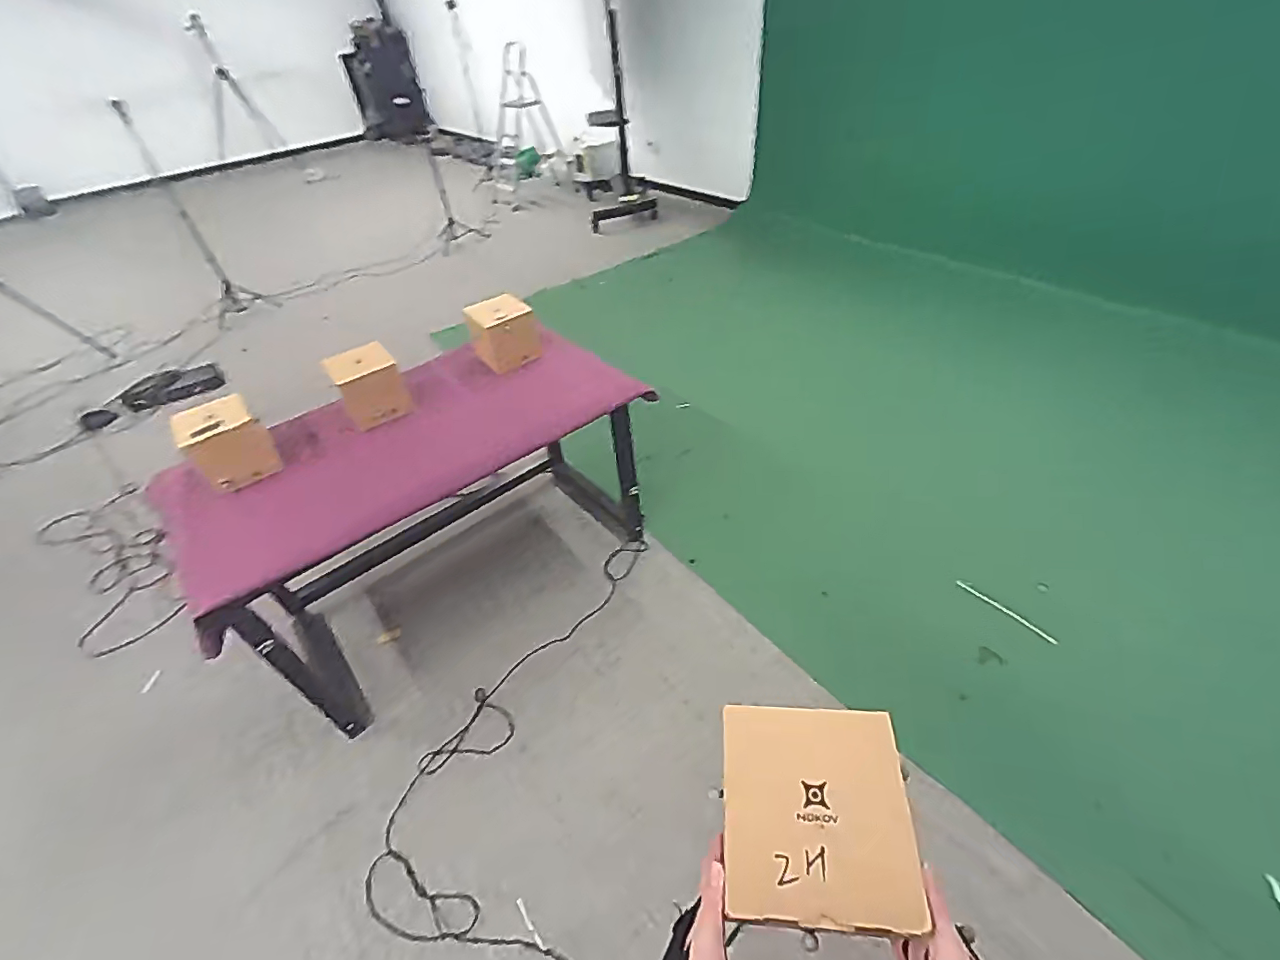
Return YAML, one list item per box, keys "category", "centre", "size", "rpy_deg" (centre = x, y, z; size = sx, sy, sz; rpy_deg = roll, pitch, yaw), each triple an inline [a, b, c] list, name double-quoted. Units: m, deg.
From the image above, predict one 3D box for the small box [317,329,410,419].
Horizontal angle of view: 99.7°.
- category: "small box"
  centre: [-0.796, -0.305, 1.563]
  size: [0.168, 0.176, 0.179]
  rpy_deg: [-30, 51, -23]

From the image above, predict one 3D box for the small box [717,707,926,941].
- category: "small box"
  centre: [0.164, 0.353, 0.558]
  size: [0.168, 0.176, 0.179]
  rpy_deg: [0, 51, 7]

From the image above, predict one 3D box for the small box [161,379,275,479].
- category: "small box"
  centre: [-1.082, -0.125, 1.396]
  size: [0.168, 0.176, 0.179]
  rpy_deg: [-30, 50, -25]

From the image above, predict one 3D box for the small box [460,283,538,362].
- category: "small box"
  centre: [-0.449, -0.506, 1.737]
  size: [0.168, 0.176, 0.179]
  rpy_deg: [-31, 50, -24]
